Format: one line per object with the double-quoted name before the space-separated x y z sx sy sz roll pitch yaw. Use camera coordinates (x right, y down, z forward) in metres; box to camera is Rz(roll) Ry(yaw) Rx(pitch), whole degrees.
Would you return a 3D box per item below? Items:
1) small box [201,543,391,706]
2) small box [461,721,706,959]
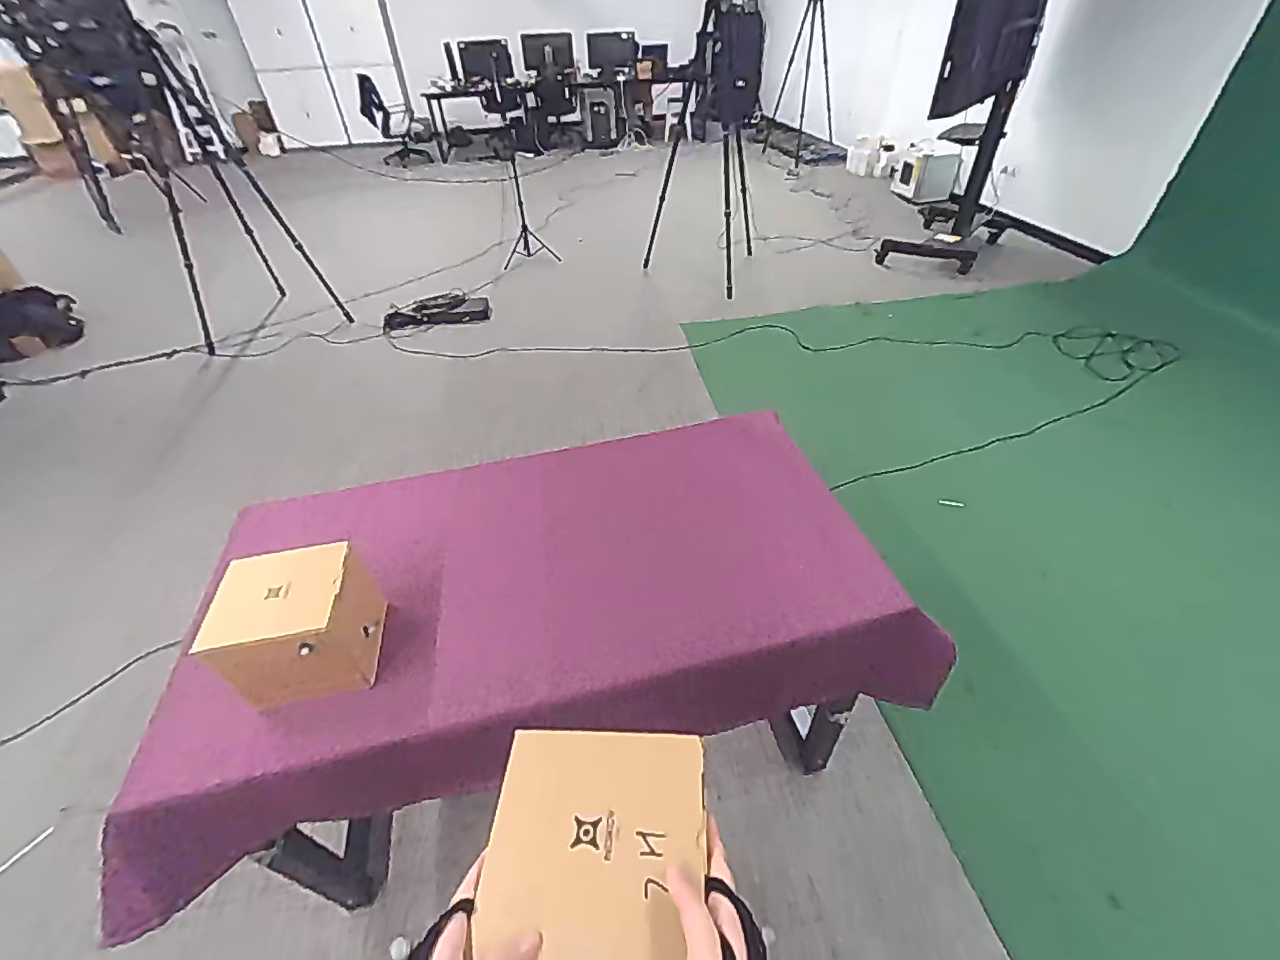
"small box" -0.516 0.226 0.843 0.179 0.176 0.168 -10 42 -8
"small box" -0.031 0.341 0.490 0.179 0.176 0.168 -1 40 6
